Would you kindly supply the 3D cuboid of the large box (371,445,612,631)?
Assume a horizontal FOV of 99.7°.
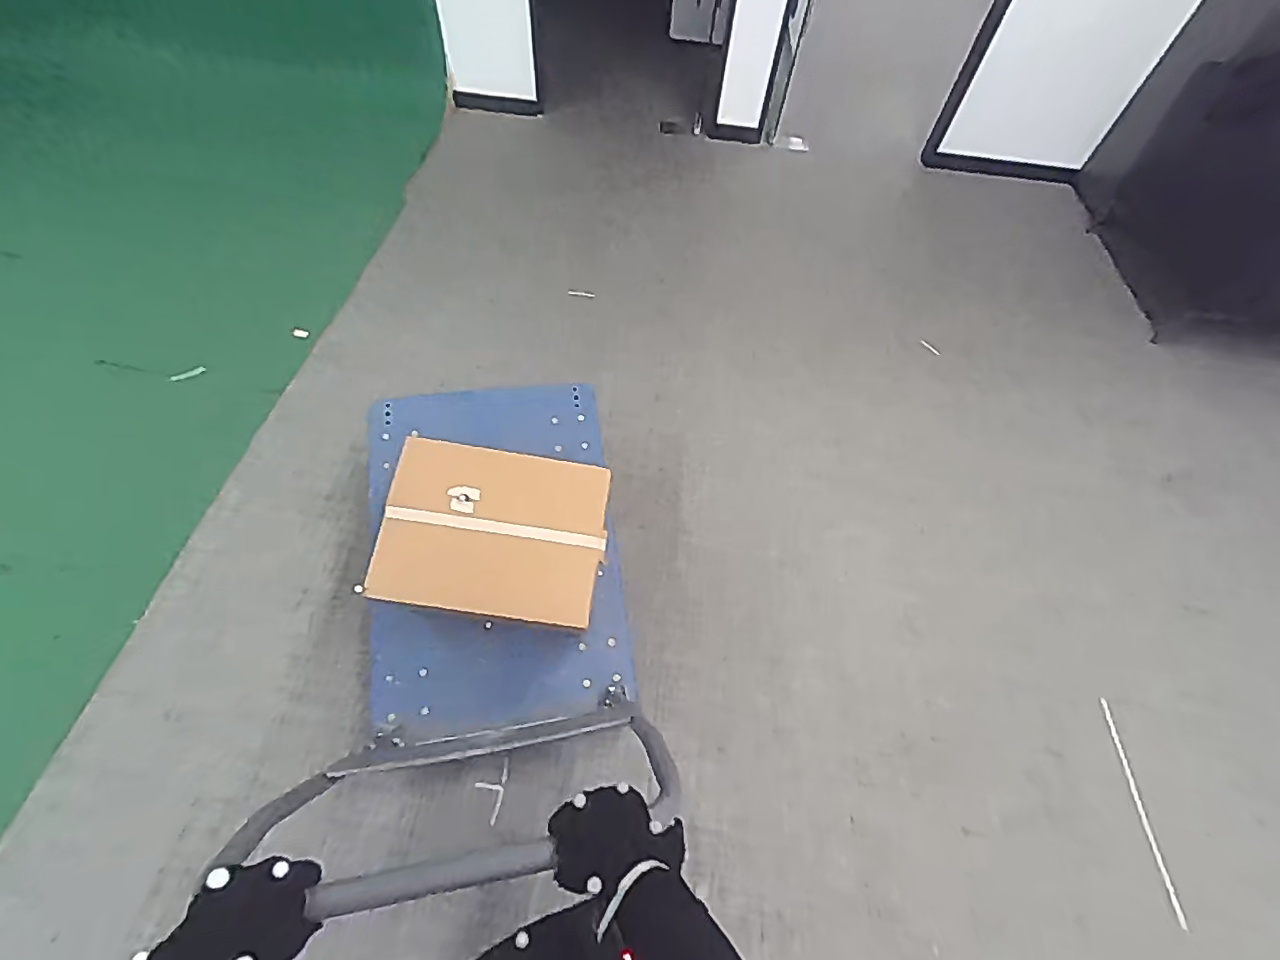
[{"bbox_3d":[-0.278,0.144,1.156,0.408,0.320,0.320,8,71,-3],"label":"large box"}]
